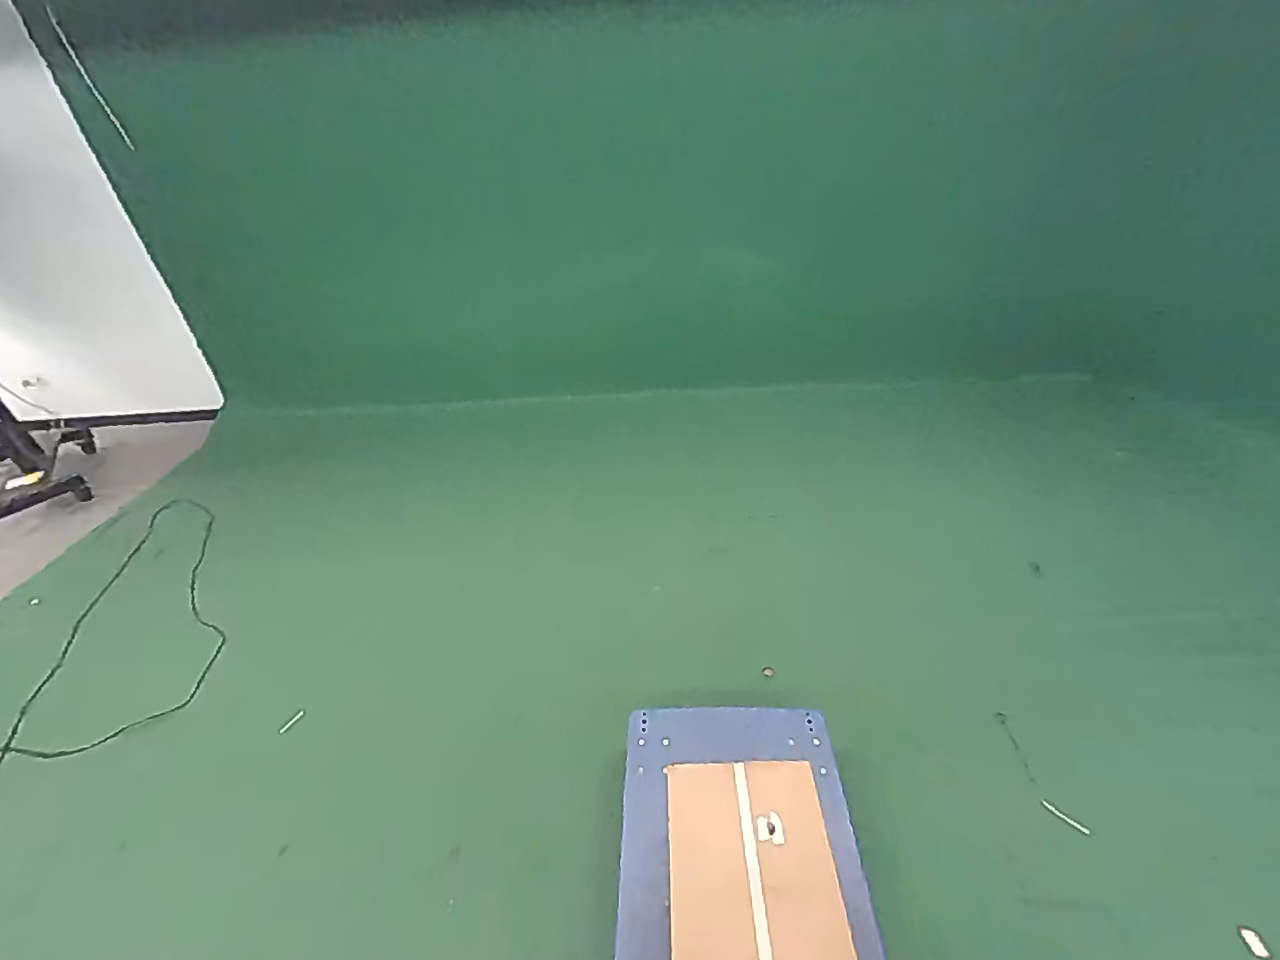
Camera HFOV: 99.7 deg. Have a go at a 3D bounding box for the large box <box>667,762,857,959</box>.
[{"bbox_3d":[0.226,0.865,1.114,0.320,0.320,0.408,-3,34,3],"label":"large box"}]
